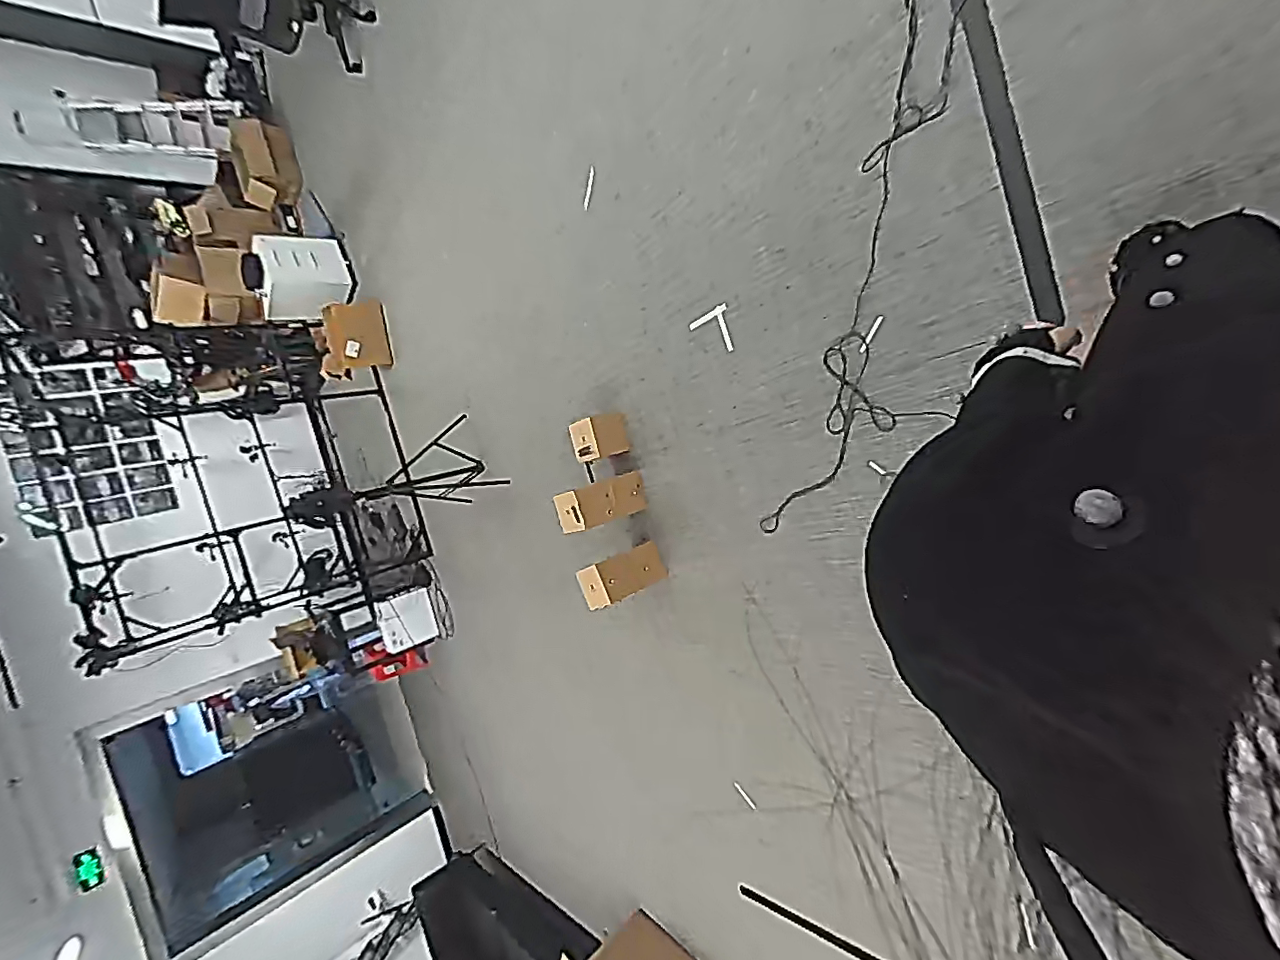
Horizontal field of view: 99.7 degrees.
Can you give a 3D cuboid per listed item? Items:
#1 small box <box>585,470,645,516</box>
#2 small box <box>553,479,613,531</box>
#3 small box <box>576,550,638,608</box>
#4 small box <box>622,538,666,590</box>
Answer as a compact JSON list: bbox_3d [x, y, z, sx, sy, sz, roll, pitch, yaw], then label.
[{"bbox_3d":[-0.106,0.060,2.347,0.179,0.176,0.168,-10,97,49],"label":"small box"},{"bbox_3d":[-0.230,0.103,2.248,0.179,0.176,0.168,-16,92,51],"label":"small box"},{"bbox_3d":[-0.135,0.412,2.258,0.168,0.176,0.179,-31,79,48],"label":"small box"},{"bbox_3d":[-0.015,0.376,2.363,0.168,0.176,0.179,-33,80,48],"label":"small box"}]
